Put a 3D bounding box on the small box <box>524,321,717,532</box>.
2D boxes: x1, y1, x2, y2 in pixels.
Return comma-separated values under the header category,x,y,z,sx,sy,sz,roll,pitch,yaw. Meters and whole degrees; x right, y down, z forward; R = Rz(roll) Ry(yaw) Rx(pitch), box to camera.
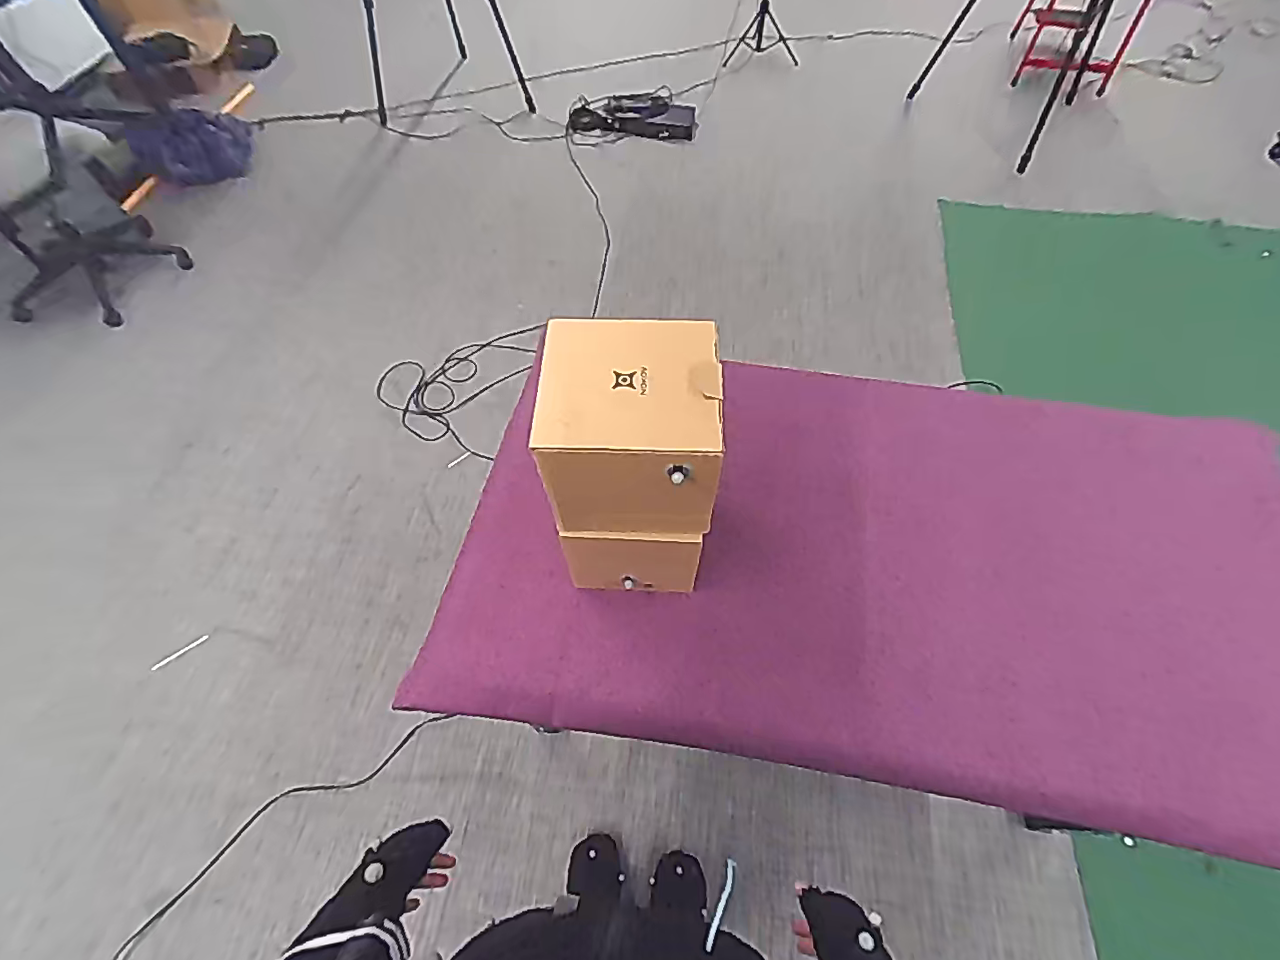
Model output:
category,x,y,z,sx,sy,sz,roll,pitch,yaw
small box,-0.013,-0.051,0.588,0.179,0.176,0.168,1,58,1
